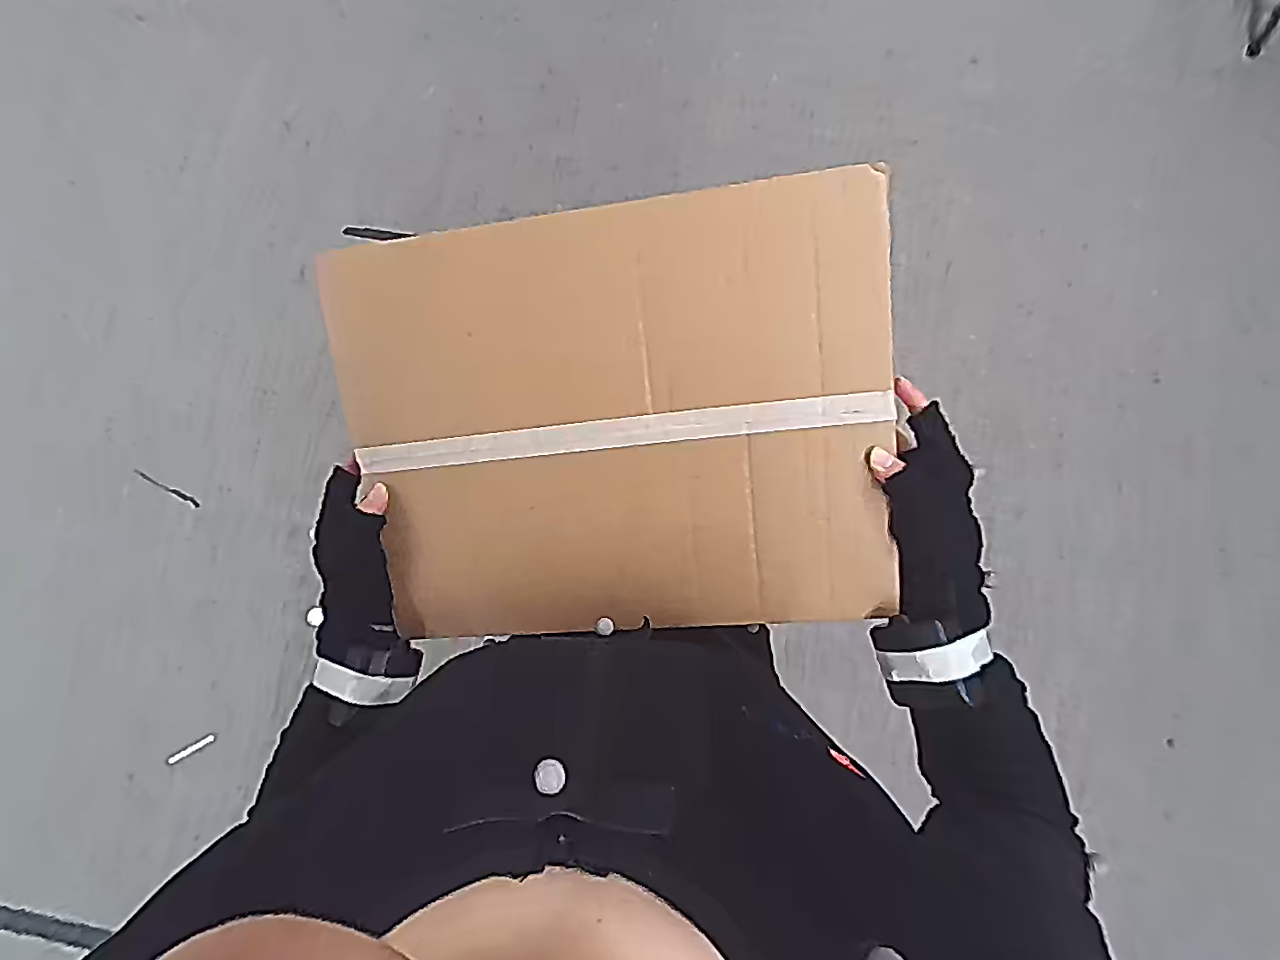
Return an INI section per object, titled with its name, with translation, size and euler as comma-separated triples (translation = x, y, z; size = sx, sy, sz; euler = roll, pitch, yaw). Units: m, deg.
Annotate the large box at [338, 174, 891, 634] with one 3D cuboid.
[large box]
translation = -0.004, -0.065, 0.561
size = 0.408, 0.320, 0.320
euler = -6, 103, 8
